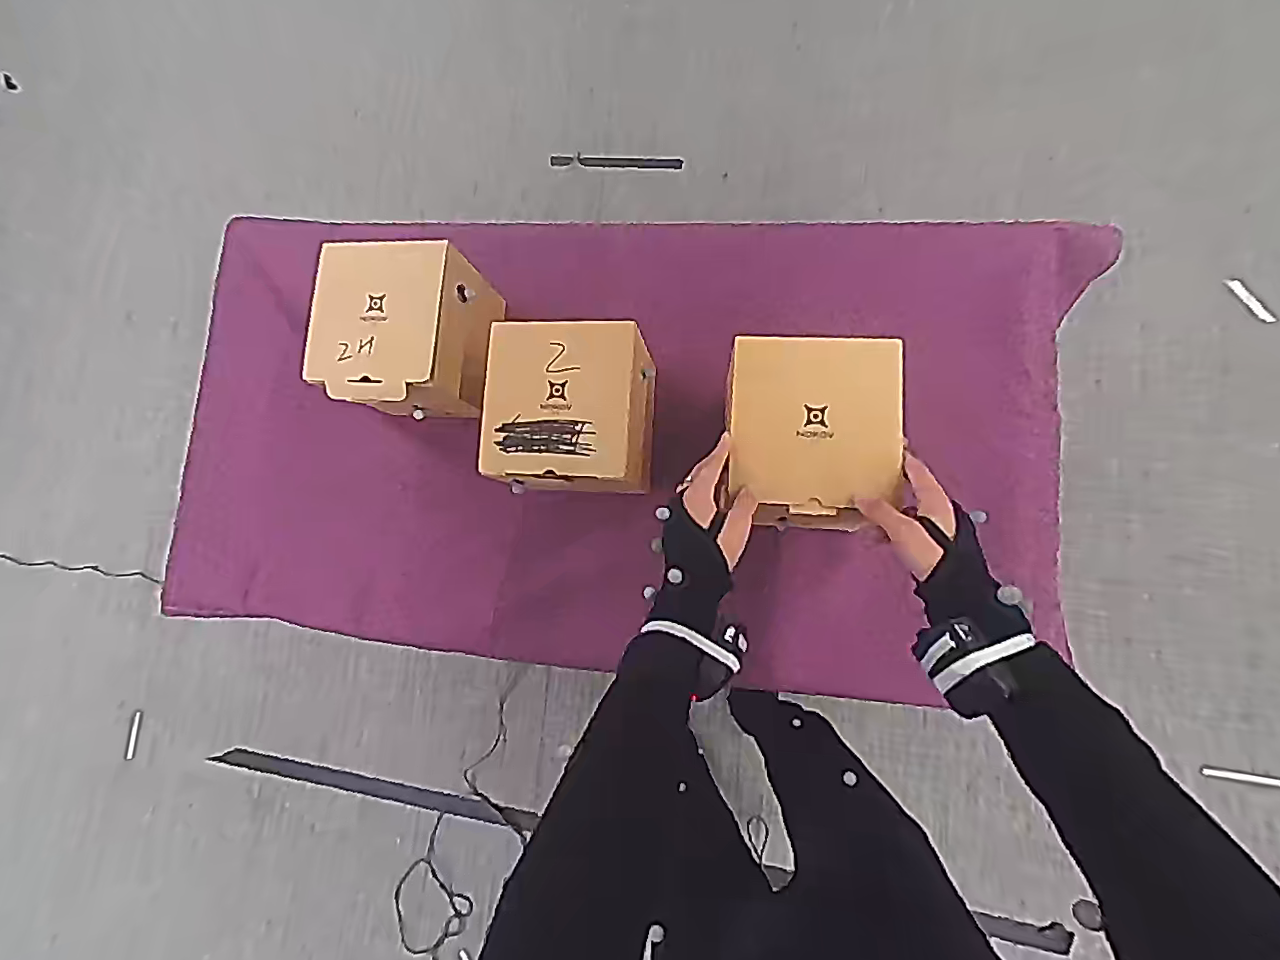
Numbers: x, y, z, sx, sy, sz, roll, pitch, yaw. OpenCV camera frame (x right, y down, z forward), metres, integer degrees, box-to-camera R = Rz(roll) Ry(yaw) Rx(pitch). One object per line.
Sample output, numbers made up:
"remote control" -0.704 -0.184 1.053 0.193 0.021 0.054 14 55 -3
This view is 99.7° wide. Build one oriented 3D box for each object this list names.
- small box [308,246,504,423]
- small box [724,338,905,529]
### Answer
"small box" -0.292 -0.182 0.711 0.168 0.176 0.179 3 84 10
"small box" 0.183 -0.043 0.611 0.168 0.176 0.179 2 80 7
